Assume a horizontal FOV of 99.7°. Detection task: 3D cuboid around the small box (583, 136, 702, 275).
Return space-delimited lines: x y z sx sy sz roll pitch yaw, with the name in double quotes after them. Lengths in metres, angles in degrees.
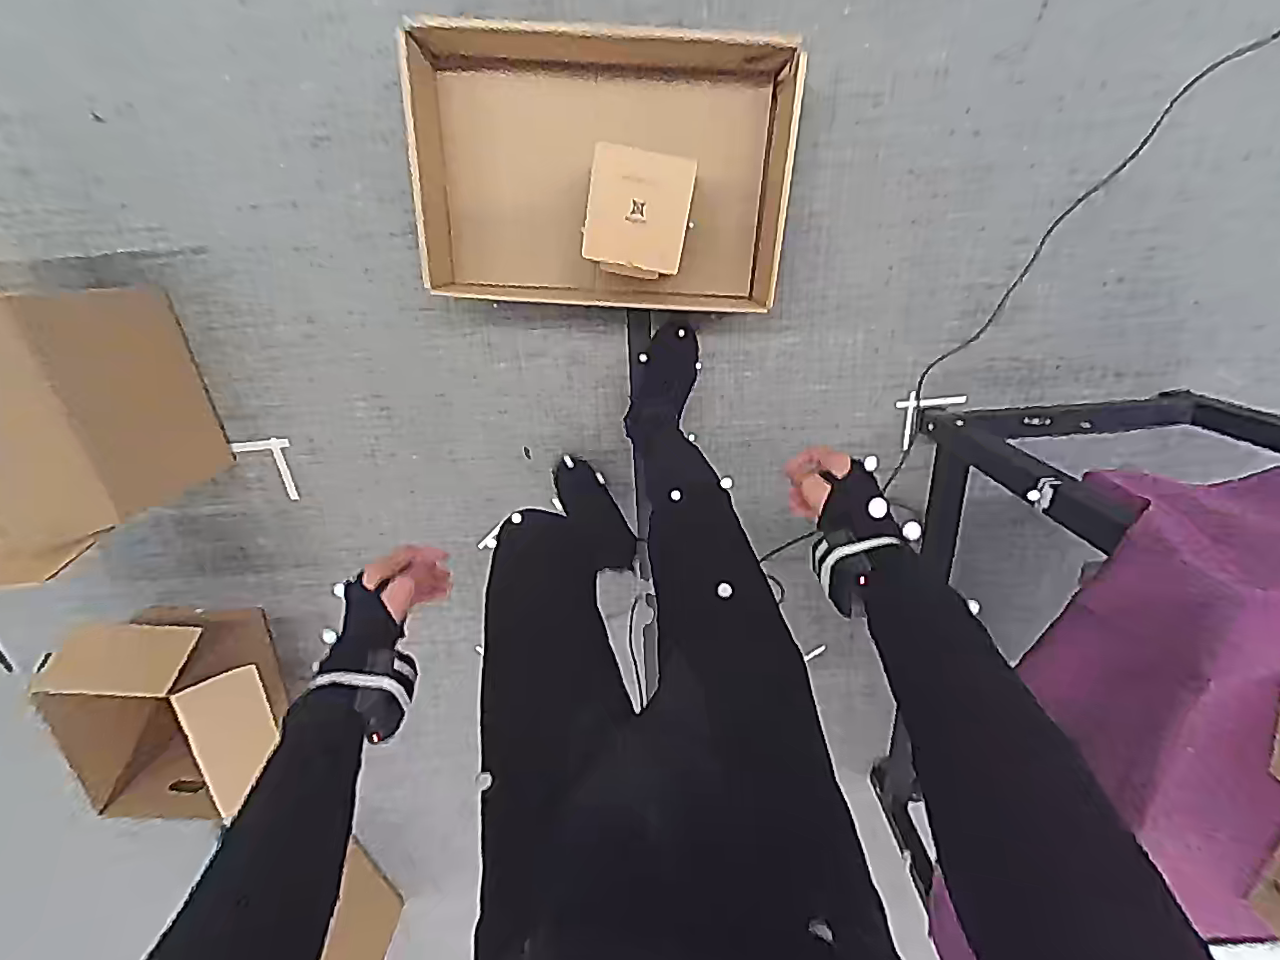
0.004 -0.465 0.935 0.168 0.176 0.179 10 113 -3 "small box"
